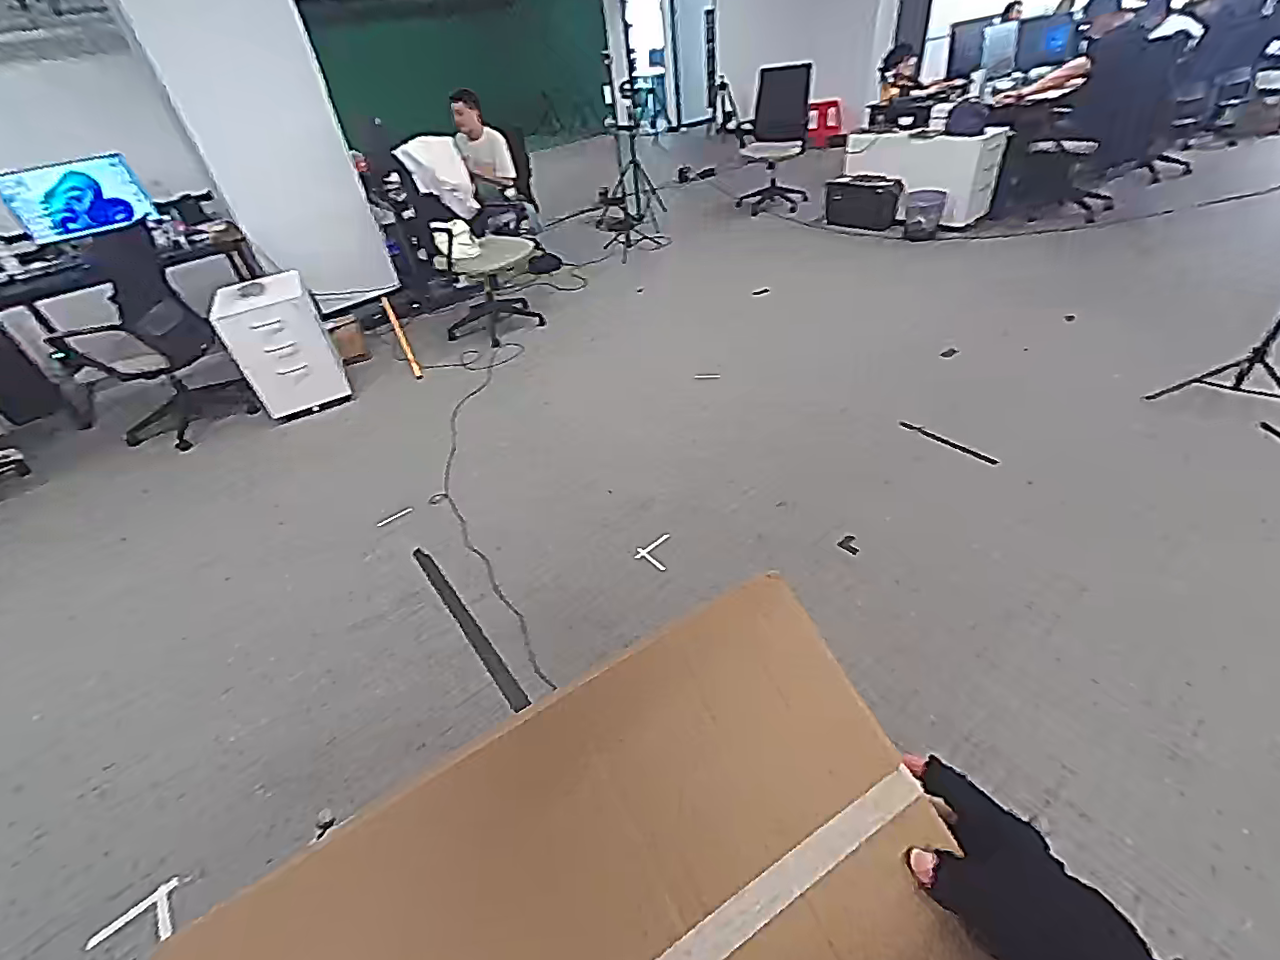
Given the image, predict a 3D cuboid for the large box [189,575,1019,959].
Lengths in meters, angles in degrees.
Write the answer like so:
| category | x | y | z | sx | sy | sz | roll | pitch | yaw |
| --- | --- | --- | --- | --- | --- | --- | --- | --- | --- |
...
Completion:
| category | x | y | z | sx | sy | sz | roll | pitch | yaw |
| --- | --- | --- | --- | --- | --- | --- | --- | --- | --- |
| large box | -0.018 | 0.335 | 0.444 | 0.408 | 0.320 | 0.320 | -28 | 77 | -15 |
